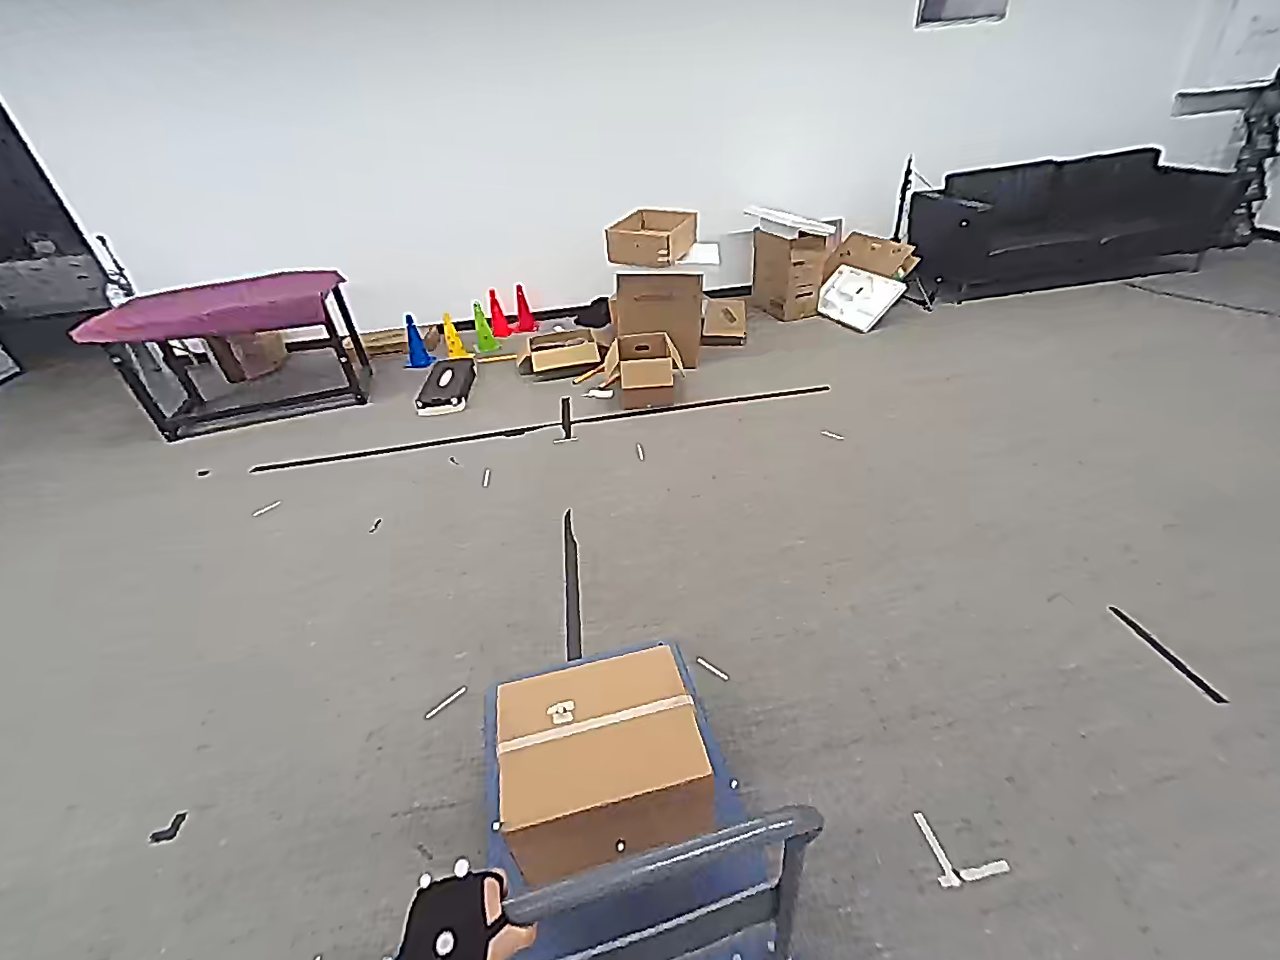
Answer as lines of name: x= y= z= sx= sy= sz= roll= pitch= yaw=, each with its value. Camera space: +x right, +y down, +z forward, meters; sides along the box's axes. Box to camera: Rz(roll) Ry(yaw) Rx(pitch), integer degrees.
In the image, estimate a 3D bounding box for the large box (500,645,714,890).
large box: x=-0.074 y=0.637 z=1.217 sx=0.408 sy=0.320 sz=0.320 roll=-13 pitch=35 yaw=-8
